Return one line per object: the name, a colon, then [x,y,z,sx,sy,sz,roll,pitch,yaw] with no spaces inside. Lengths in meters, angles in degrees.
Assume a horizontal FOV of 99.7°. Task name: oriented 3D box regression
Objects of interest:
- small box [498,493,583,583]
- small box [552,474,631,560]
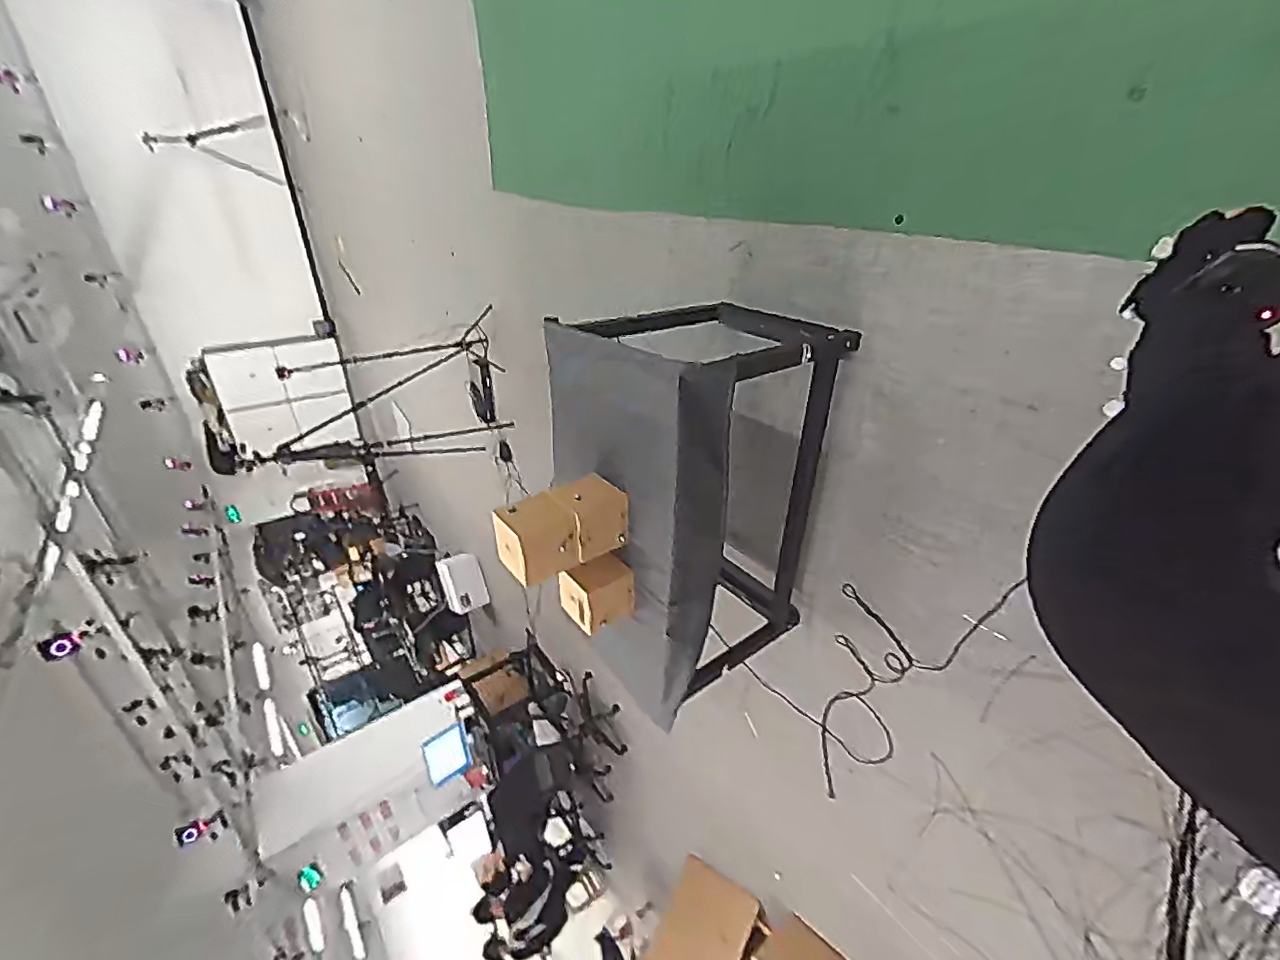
small box: [-0.276,0.152,1.507,0.179,0.176,0.168,30,131,45]
small box: [-0.136,0.100,1.577,0.179,0.176,0.168,33,132,45]
